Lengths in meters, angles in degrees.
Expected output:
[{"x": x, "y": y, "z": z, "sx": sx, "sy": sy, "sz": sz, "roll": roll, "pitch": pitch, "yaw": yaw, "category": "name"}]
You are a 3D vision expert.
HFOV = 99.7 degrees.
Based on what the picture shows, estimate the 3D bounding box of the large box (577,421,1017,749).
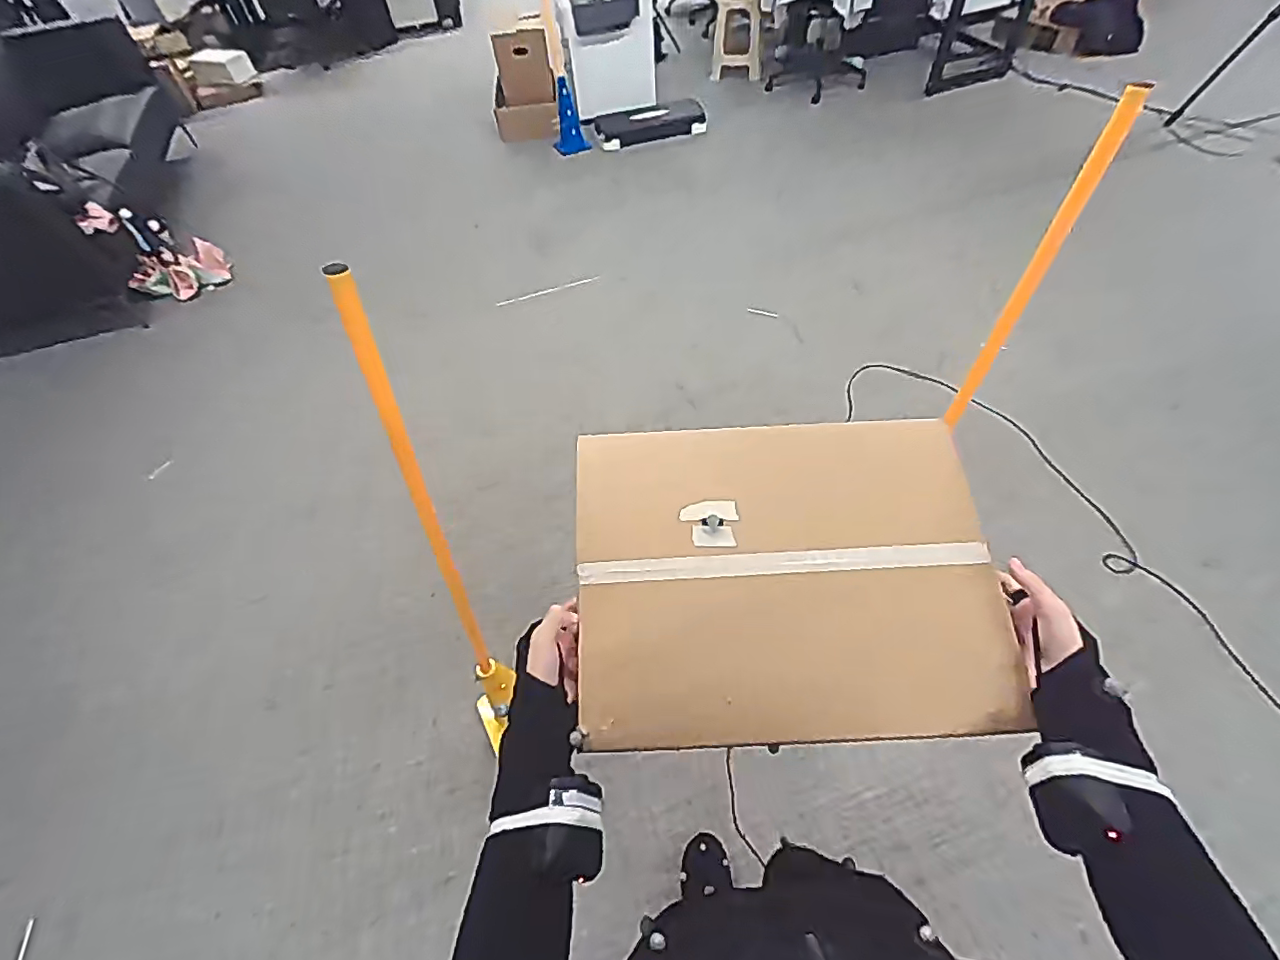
[{"x": 0.144, "y": 0.145, "z": 0.682, "sx": 0.408, "sy": 0.320, "sz": 0.320, "roll": -4, "pitch": 66, "yaw": 1, "category": "large box"}]
